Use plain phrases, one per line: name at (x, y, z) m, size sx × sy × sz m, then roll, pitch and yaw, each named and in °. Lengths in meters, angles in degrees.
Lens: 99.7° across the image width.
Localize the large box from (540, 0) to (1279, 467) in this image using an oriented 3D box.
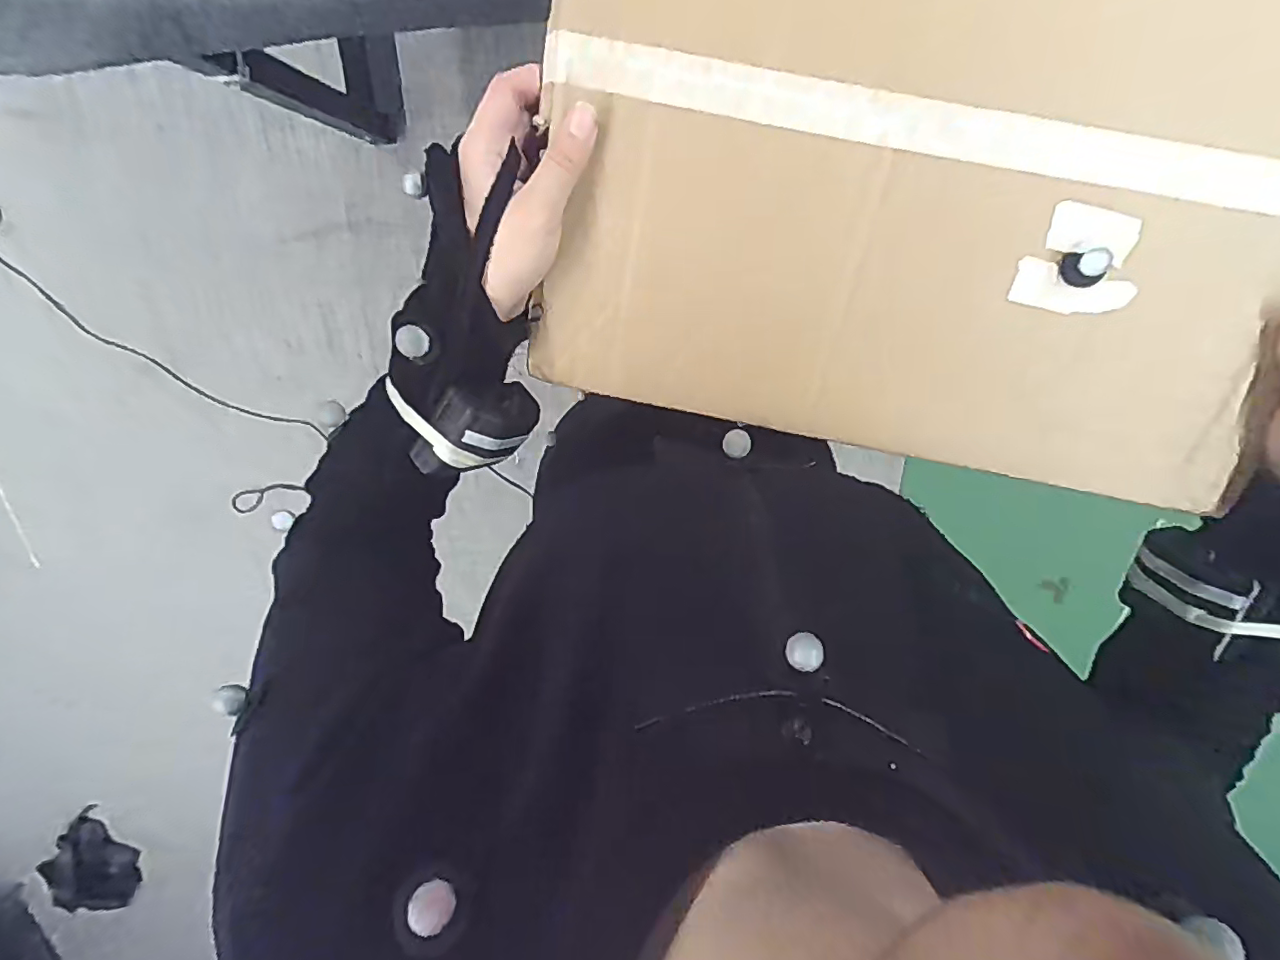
large box at (0.169, -0.230, 0.392) m, size 0.408 × 0.320 × 0.320 m, roll 10°, pitch 112°, yaw 1°
